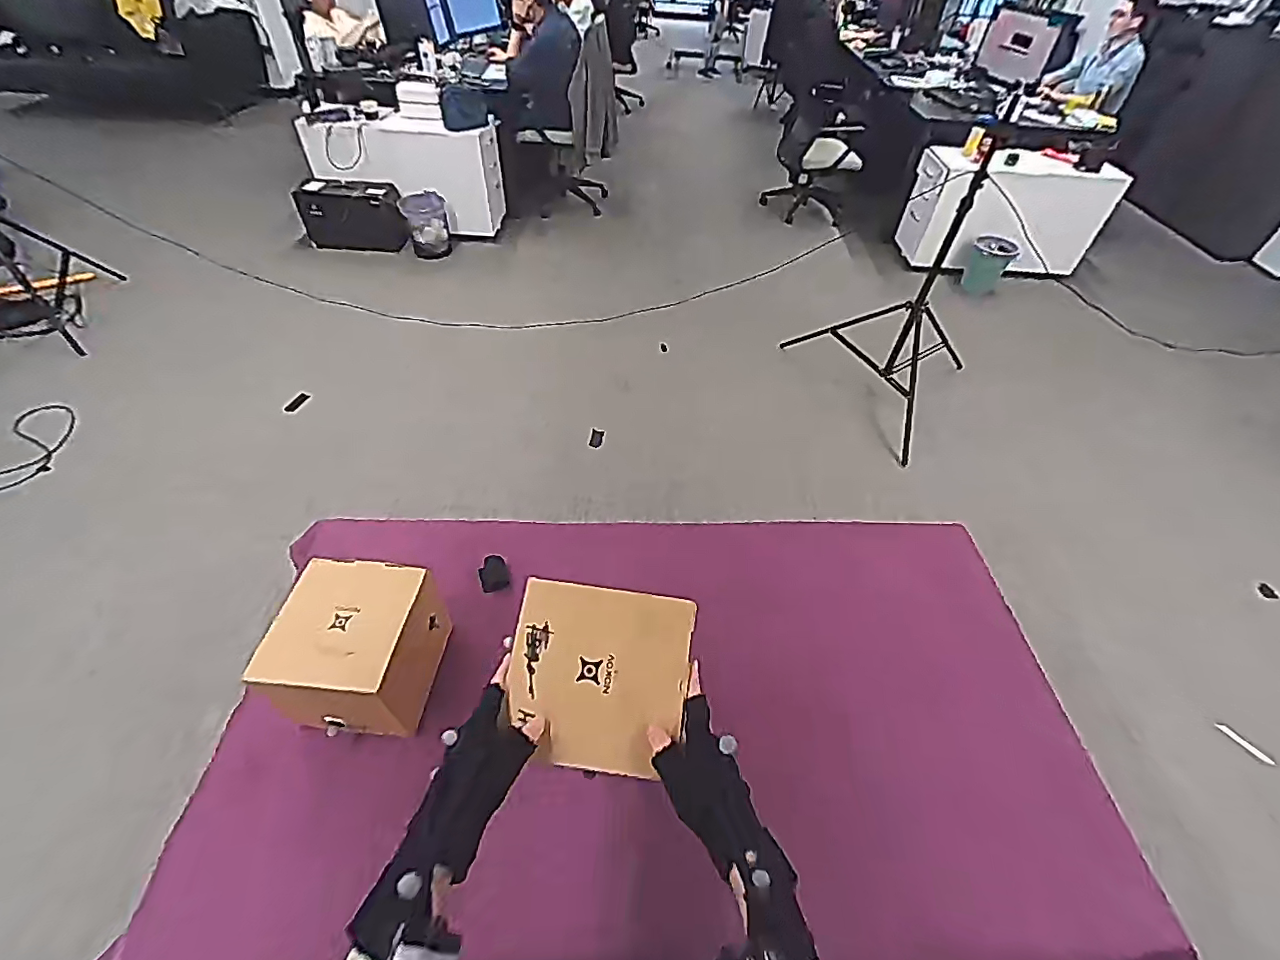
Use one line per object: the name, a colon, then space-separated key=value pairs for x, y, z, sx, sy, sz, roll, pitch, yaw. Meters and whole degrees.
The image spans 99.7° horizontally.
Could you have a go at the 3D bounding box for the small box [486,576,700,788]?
small box: x=-0.041 y=0.213 z=0.576 sx=0.179 sy=0.176 sz=0.168 roll=9 pitch=66 yaw=2

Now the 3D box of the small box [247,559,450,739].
small box: x=-0.377 y=0.233 z=0.744 sx=0.168 sy=0.176 sz=0.179 roll=4 pitch=48 yaw=2
